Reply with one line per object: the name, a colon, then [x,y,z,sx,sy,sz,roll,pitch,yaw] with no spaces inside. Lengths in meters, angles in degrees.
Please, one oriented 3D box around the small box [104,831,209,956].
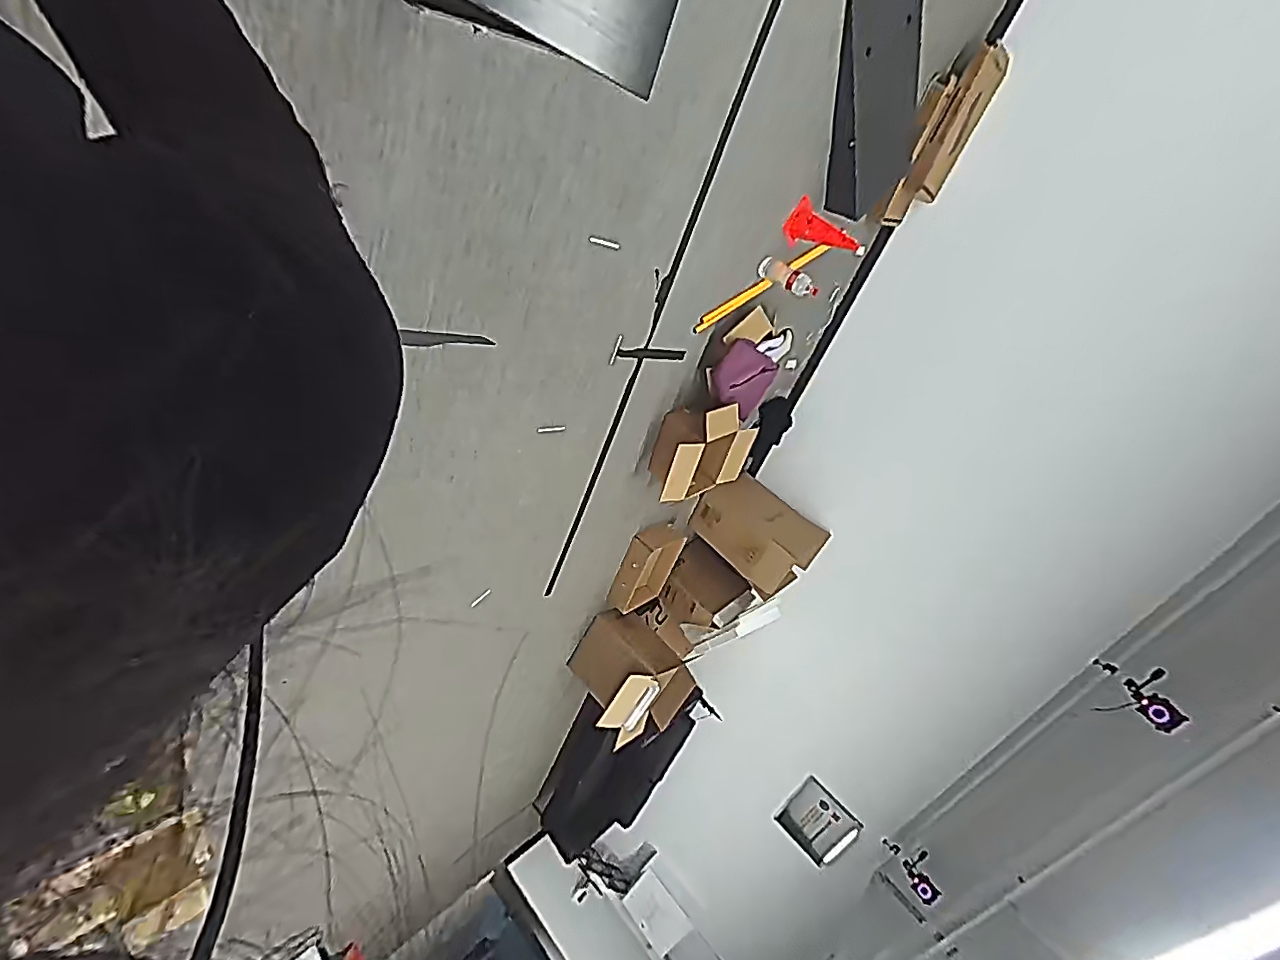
small box: [-1.272,1.080,1.427,0.168,0.176,0.179,-19,135,-47]
